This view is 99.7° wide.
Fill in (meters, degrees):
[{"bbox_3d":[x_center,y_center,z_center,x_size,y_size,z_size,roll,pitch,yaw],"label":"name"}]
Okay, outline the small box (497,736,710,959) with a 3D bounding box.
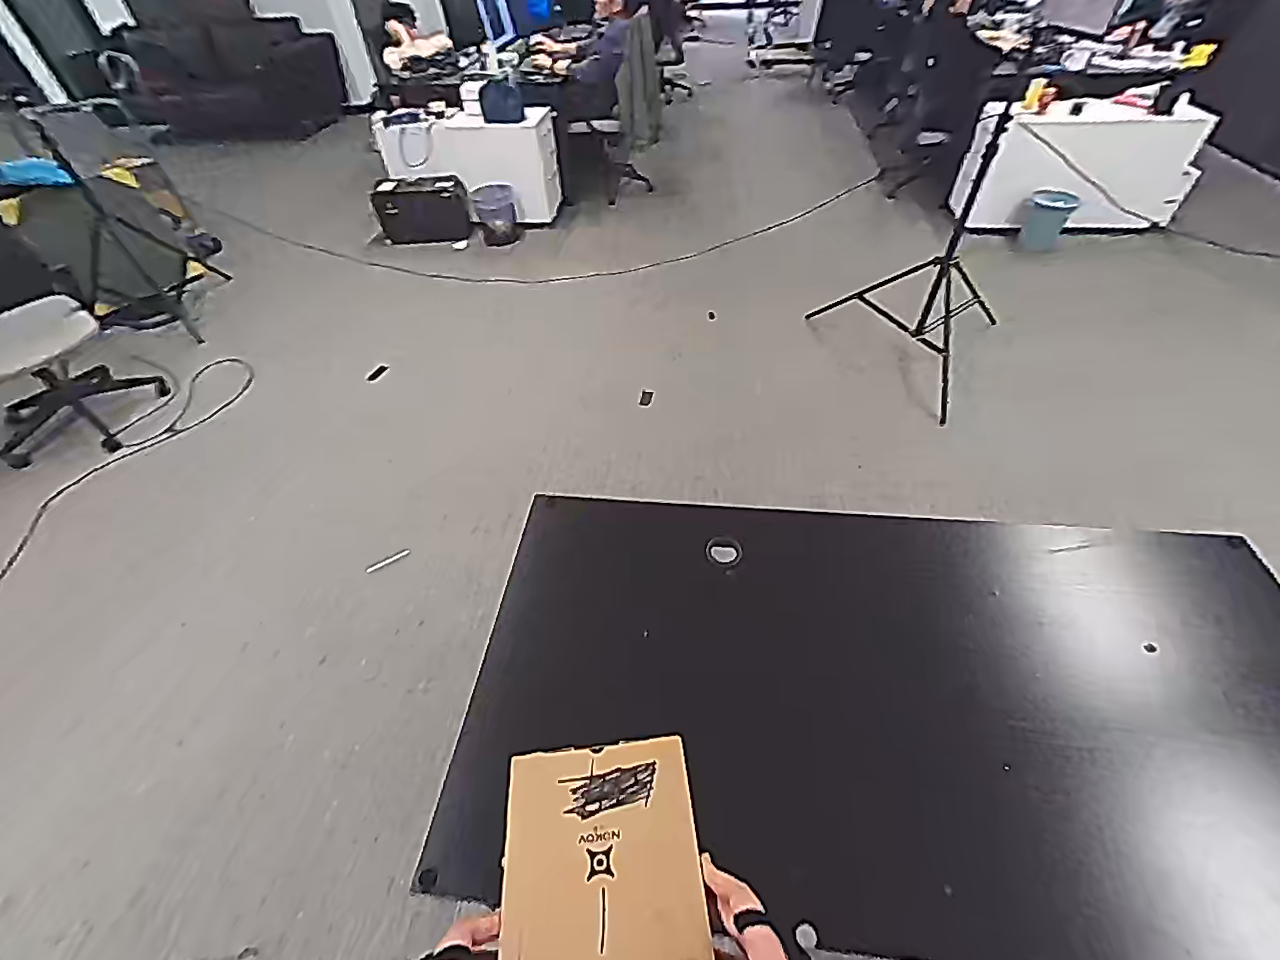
[{"bbox_3d":[-0.030,0.376,0.519,0.168,0.176,0.179,-7,43,-1],"label":"small box"}]
